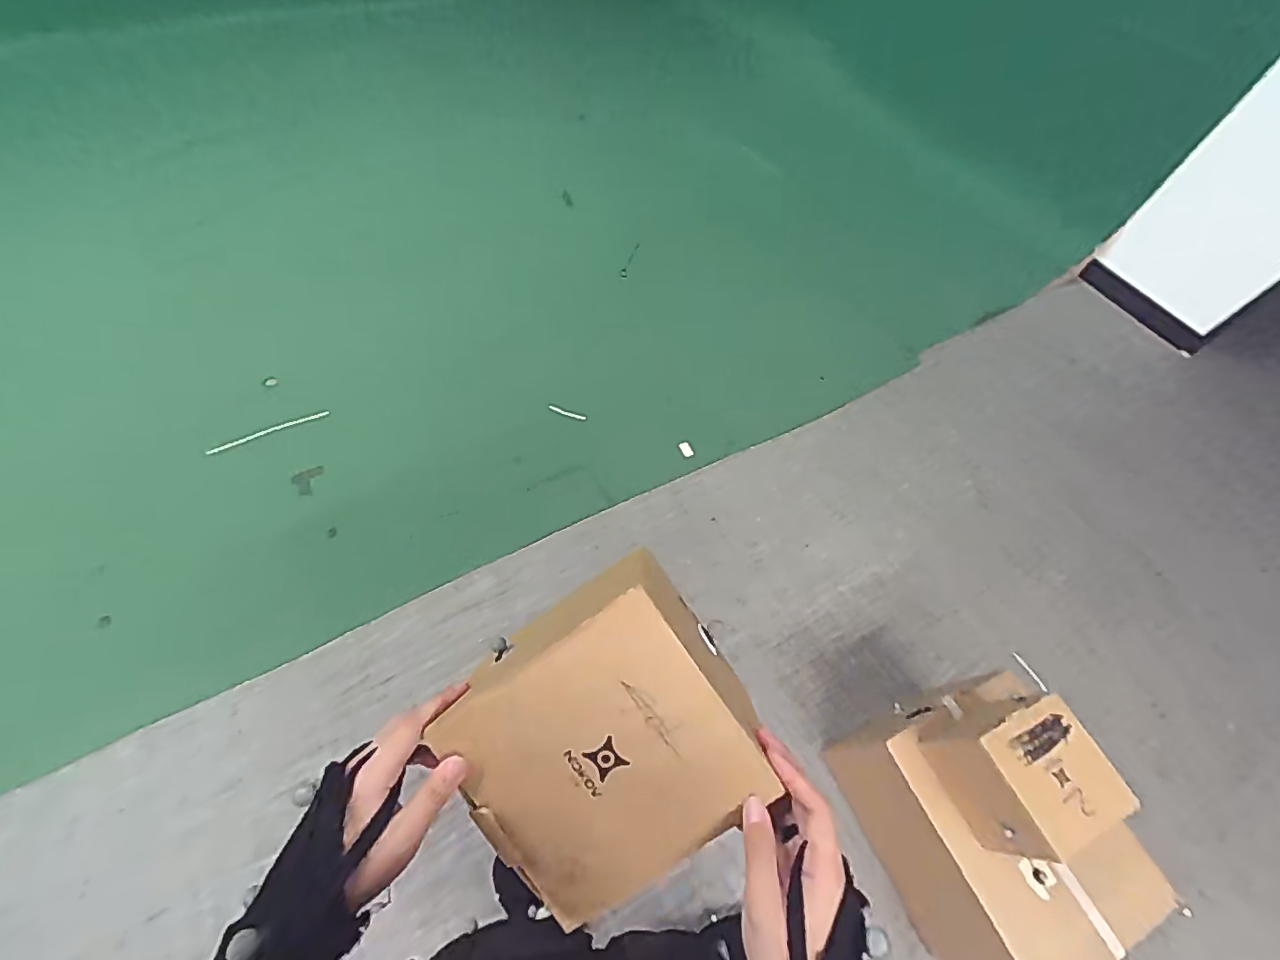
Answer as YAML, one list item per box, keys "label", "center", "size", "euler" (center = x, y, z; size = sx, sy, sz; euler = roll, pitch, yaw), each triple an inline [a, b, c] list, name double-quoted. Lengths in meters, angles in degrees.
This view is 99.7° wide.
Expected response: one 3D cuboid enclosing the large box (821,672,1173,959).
- label: "large box"
  center: [0.632, 0.646, 1.043]
  size: [0.320, 0.320, 0.408]
  euler: [-21, 65, -15]
